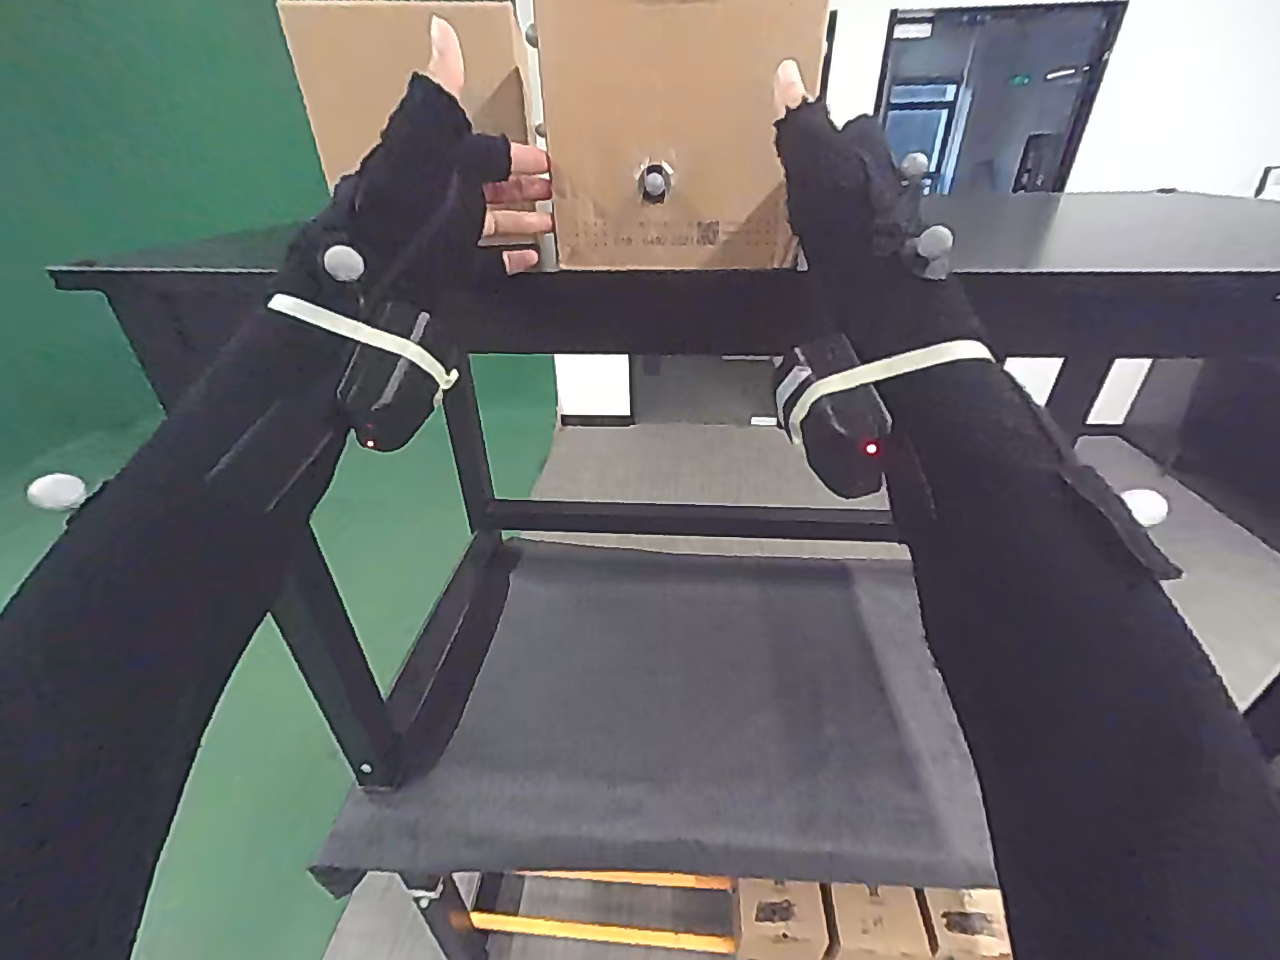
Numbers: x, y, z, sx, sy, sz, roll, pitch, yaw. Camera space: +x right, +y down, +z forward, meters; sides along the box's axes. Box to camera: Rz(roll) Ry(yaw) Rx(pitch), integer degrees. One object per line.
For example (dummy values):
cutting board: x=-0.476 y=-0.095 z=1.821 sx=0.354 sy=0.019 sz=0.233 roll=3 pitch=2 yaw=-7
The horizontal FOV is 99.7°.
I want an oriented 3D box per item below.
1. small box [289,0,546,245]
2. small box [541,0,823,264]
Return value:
small box: x=-0.182 y=-0.323 z=0.508 sx=0.168 sy=0.176 sz=0.179 roll=-5 pitch=32 yaw=-5
small box: x=0.027 y=-0.266 z=0.405 sx=0.168 sy=0.176 sz=0.179 roll=1 pitch=31 yaw=4
